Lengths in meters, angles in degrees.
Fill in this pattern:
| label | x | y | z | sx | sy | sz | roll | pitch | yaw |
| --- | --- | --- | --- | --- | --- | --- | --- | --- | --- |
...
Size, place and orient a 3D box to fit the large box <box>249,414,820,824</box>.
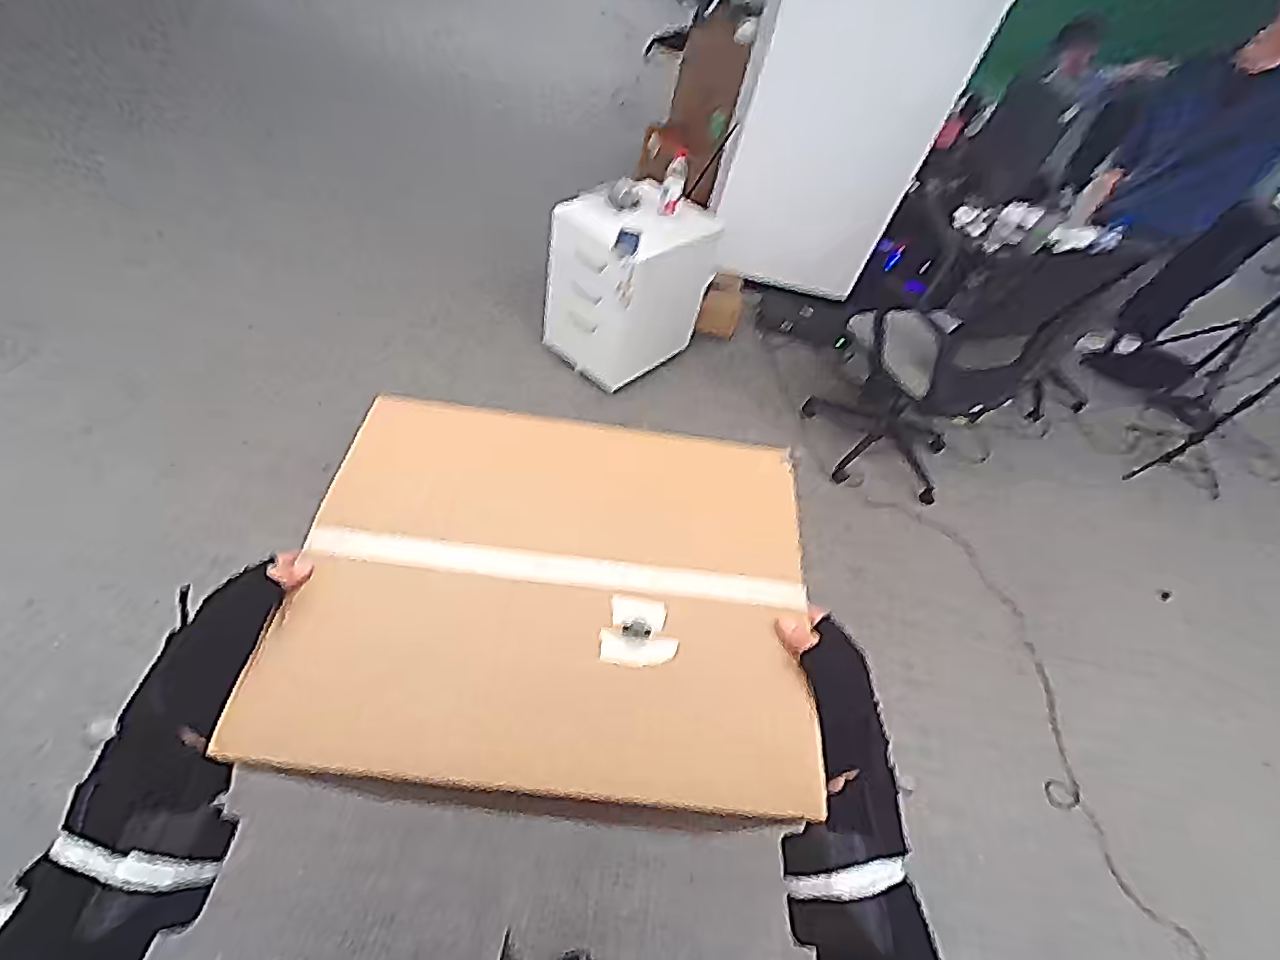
| label | x | y | z | sx | sy | sz | roll | pitch | yaw |
| --- | --- | --- | --- | --- | --- | --- | --- | --- | --- |
| large box | -0.076 | 0.165 | 0.577 | 0.408 | 0.320 | 0.320 | 8 | 56 | -3 |
